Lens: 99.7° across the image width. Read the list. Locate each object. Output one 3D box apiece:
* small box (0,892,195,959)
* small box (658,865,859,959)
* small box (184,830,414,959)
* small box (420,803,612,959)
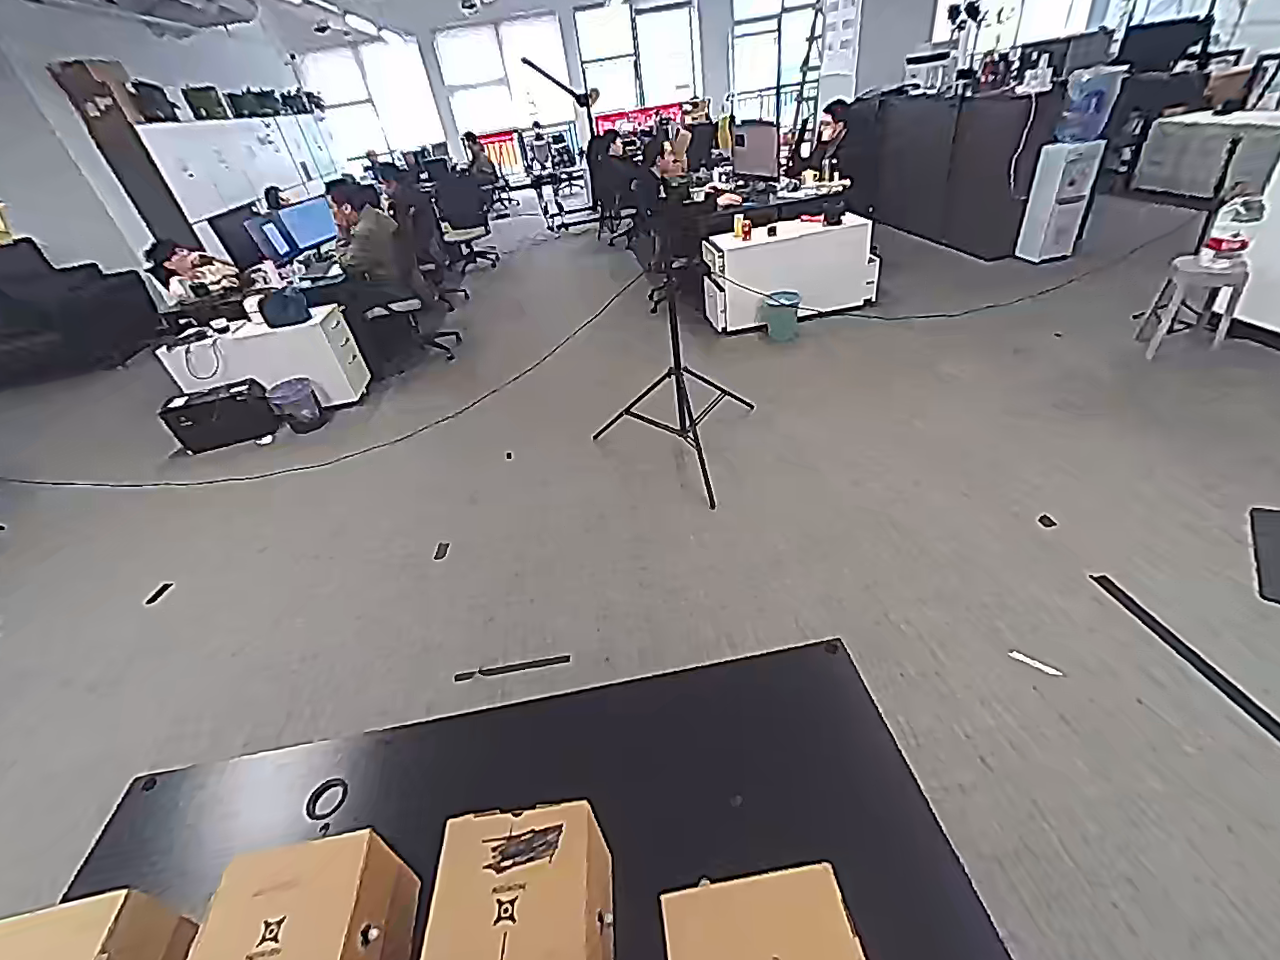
[{"bbox_3d":[-0.628,0.585,0.581,0.179,0.176,0.168,-11,35,-5],"label":"small box"},{"bbox_3d":[0.122,0.511,0.522,0.179,0.176,0.168,-10,36,-1],"label":"small box"},{"bbox_3d":[-0.372,0.534,0.601,0.168,0.176,0.179,-10,35,-3],"label":"small box"},{"bbox_3d":[-0.125,0.495,0.599,0.168,0.176,0.179,-8,36,1],"label":"small box"}]
